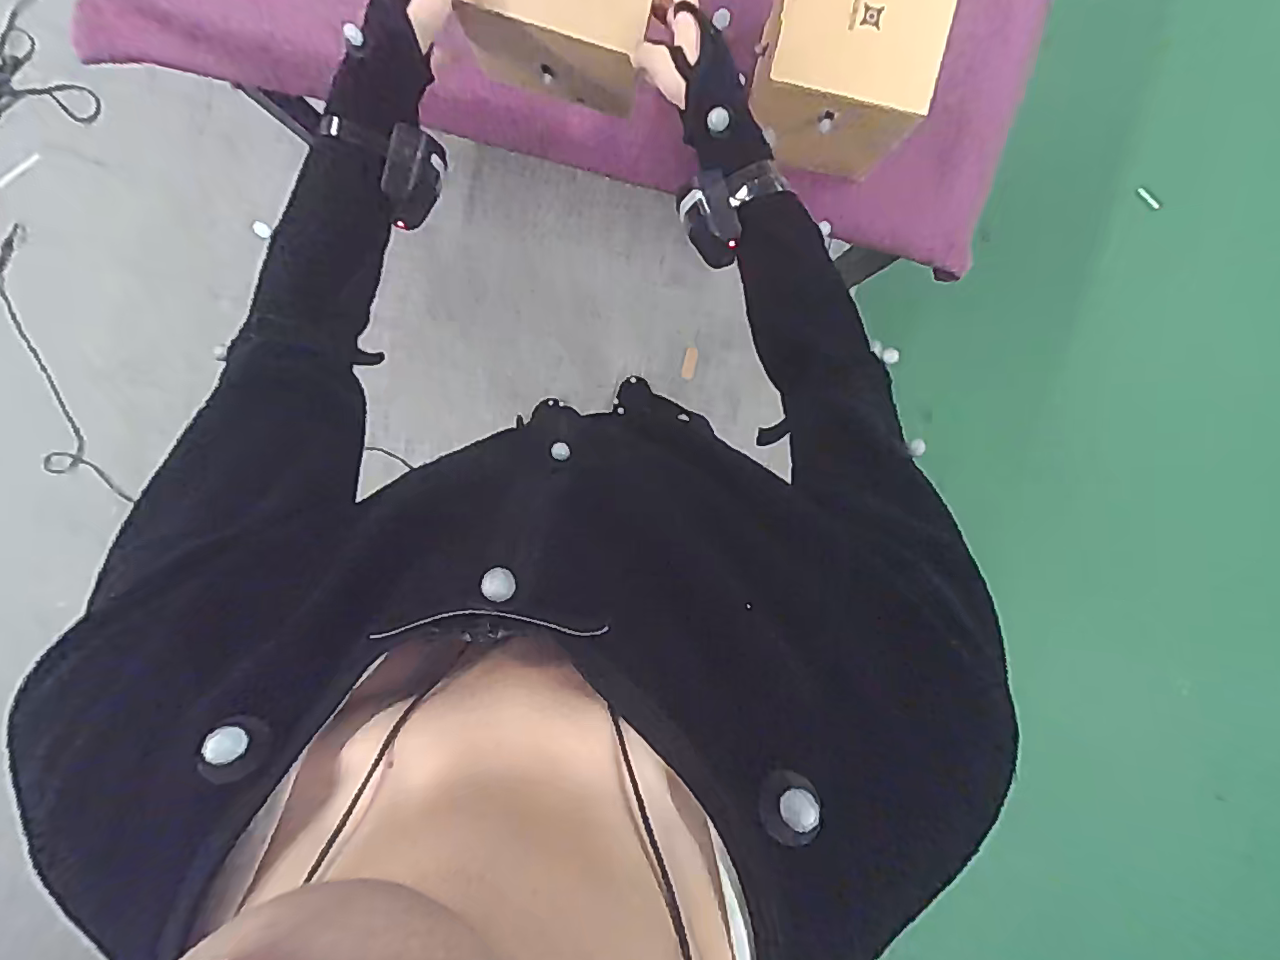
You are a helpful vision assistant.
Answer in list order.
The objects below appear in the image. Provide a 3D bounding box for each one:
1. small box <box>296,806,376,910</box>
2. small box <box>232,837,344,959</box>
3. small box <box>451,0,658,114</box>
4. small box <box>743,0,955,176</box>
[{"bbox_3d":[-0.856,1.038,1.496,0.179,0.176,0.168,6,95,-1],"label":"small box"},{"bbox_3d":[-0.857,1.031,1.331,0.168,0.176,0.179,10,96,-2],"label":"small box"},{"bbox_3d":[-0.063,-0.485,0.510,0.168,0.176,0.179,13,106,-8],"label":"small box"},{"bbox_3d":[0.235,-0.490,0.641,0.179,0.176,0.168,12,97,0],"label":"small box"}]
